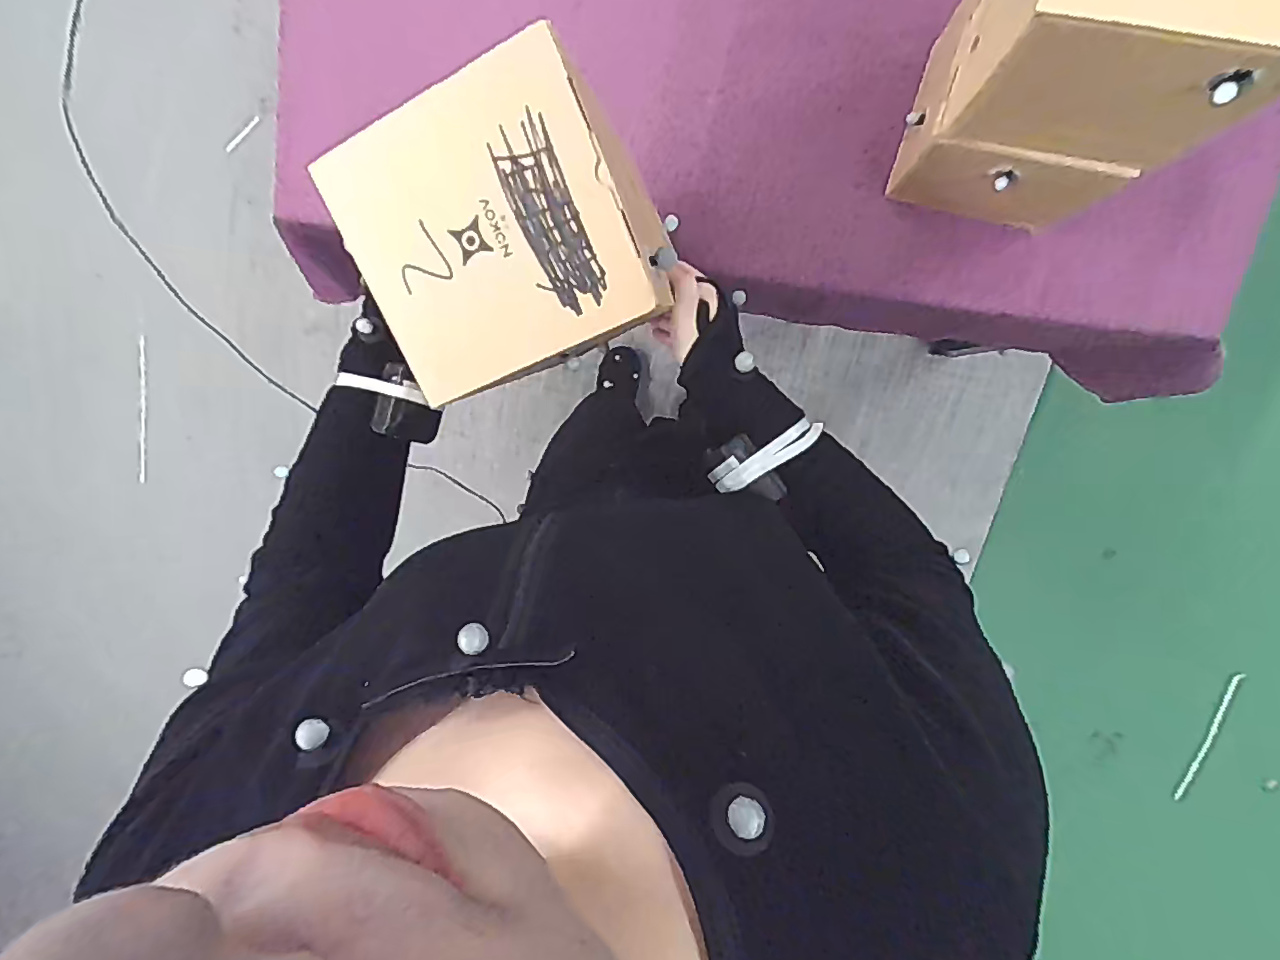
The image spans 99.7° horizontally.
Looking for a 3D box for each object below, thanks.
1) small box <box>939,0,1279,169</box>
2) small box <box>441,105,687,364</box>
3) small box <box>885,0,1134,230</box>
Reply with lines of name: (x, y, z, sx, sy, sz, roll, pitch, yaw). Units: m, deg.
small box: (0.346, -0.346, 0.380, 0.179, 0.176, 0.168, 15, 103, 7)
small box: (-0.063, -0.236, 0.565, 0.179, 0.176, 0.168, -23, 103, 14)
small box: (0.373, -0.369, 0.539, 0.179, 0.176, 0.168, 17, 103, 6)
